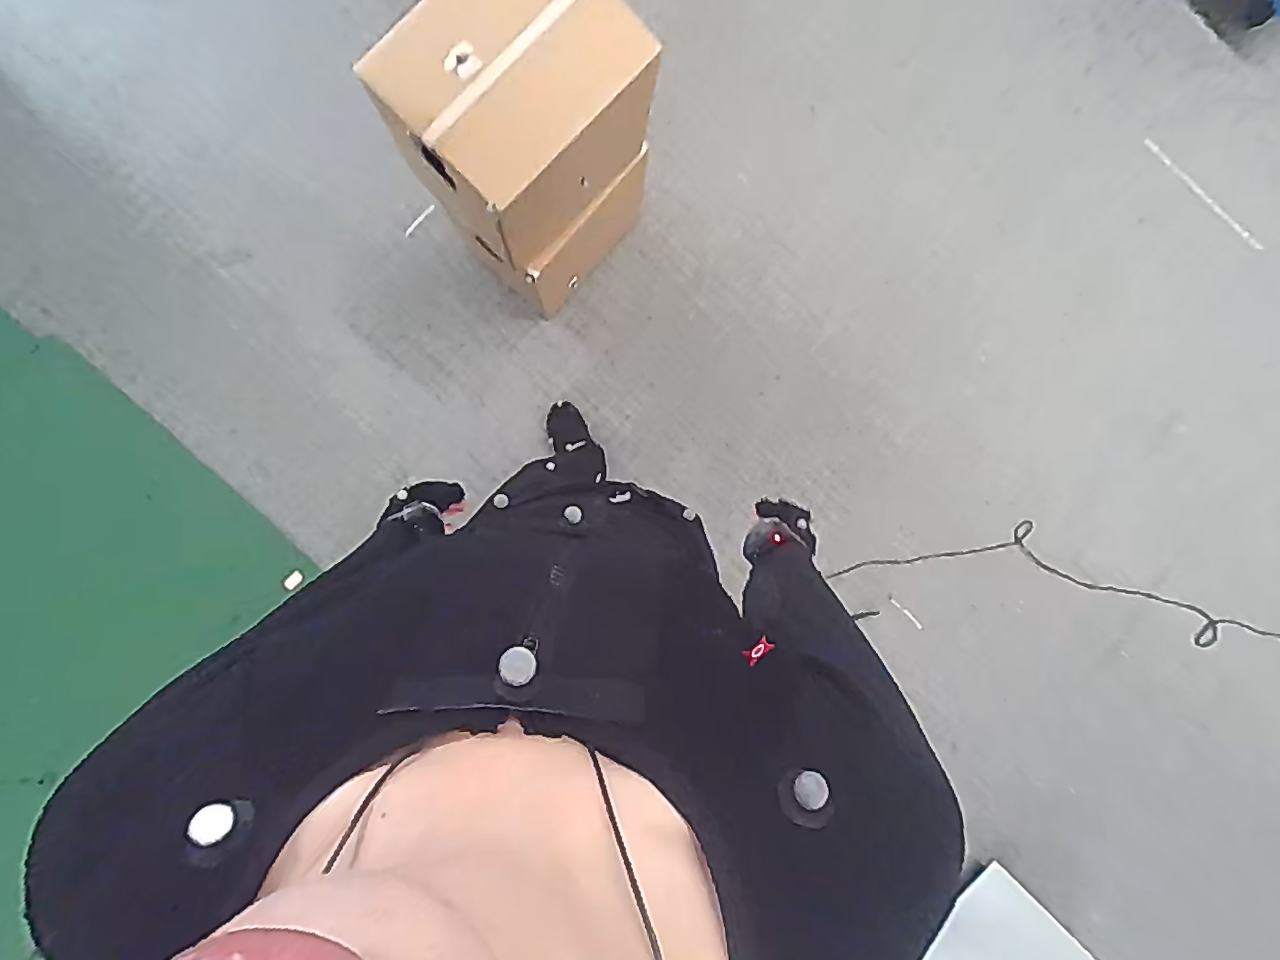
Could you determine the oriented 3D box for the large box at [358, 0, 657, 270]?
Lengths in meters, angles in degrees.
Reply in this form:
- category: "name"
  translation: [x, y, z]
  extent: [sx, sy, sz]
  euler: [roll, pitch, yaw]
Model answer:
- category: "large box"
  translation: [-0.226, -0.695, 1.033]
  extent: [0.320, 0.320, 0.408]
  euler: [44, 88, -6]
